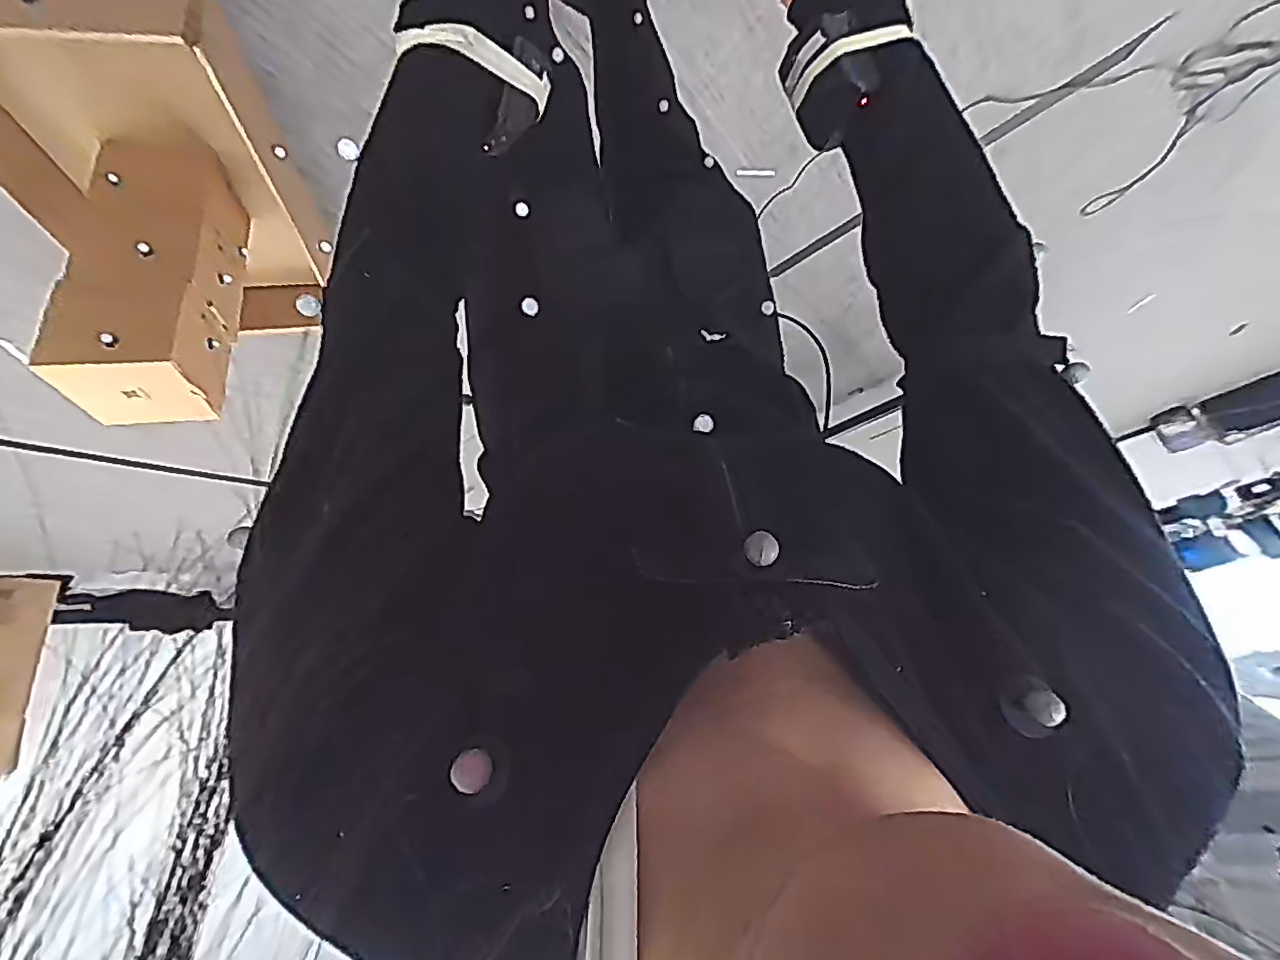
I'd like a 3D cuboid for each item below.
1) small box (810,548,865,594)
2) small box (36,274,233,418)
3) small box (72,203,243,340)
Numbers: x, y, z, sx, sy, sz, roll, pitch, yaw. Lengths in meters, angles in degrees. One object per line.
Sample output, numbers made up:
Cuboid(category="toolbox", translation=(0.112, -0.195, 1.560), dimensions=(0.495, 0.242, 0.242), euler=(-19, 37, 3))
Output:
Cuboid(category="small box", translation=(0.906, 0.417, 2.483), dimensions=(0.168, 0.176, 0.179), euler=(-27, 153, 30))
Cuboid(category="small box", translation=(-0.813, -0.221, 0.894), dimensions=(0.179, 0.176, 0.168), euler=(-6, 157, -15))
Cuboid(category="small box", translation=(-0.839, -0.366, 0.963), dimensions=(0.179, 0.176, 0.168), euler=(-6, 157, -16))
